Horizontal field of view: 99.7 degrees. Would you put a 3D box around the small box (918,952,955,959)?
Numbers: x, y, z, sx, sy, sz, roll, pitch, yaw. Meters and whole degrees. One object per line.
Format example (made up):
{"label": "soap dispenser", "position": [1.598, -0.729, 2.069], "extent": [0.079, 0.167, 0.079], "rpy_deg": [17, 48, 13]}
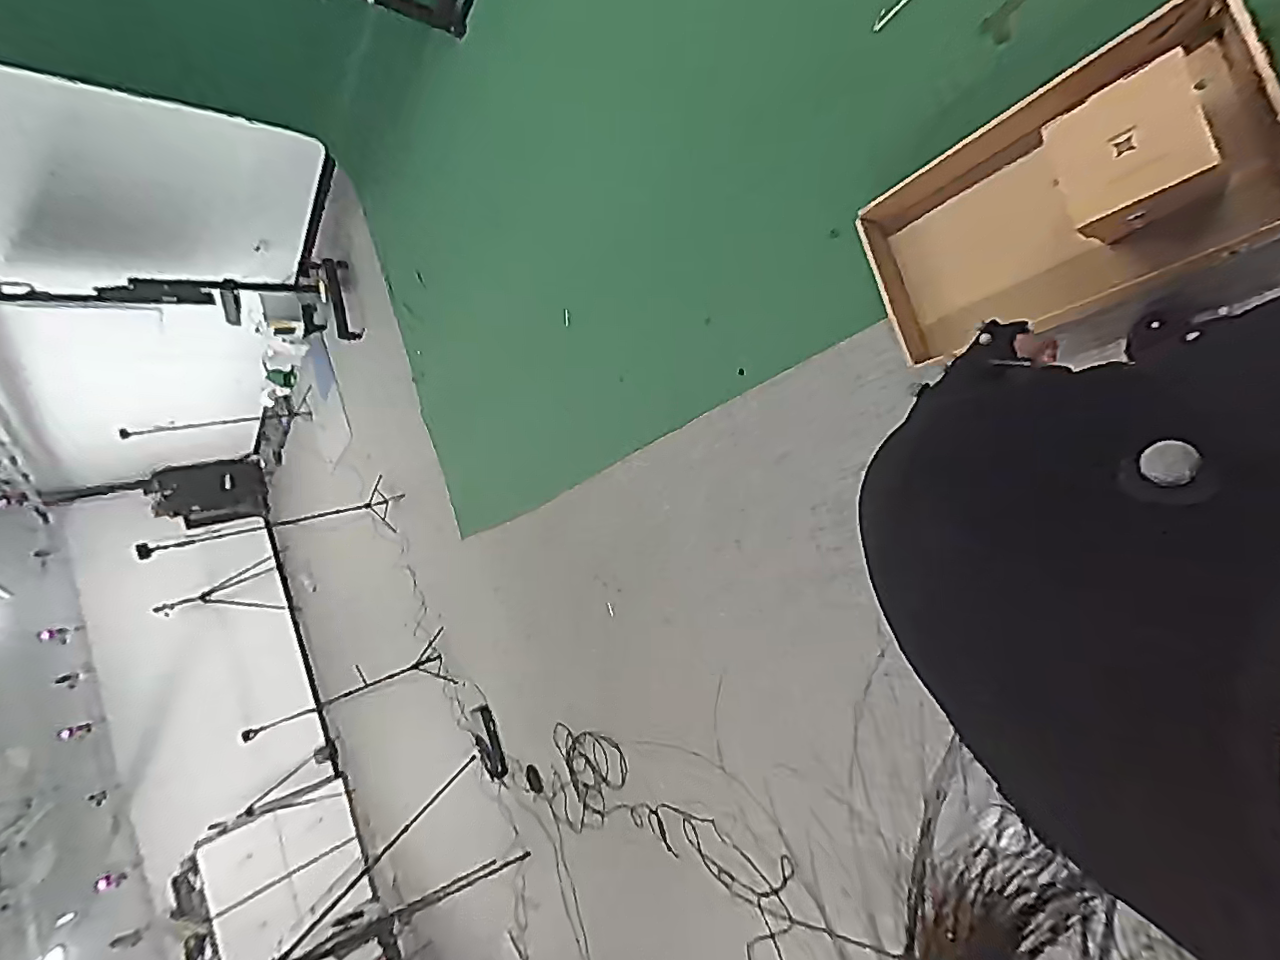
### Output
{"label": "small box", "position": [0.803, 1.366, 1.381], "extent": [0.179, 0.176, 0.168], "rpy_deg": [-31, 78, 46]}

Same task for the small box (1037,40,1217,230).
{"label": "small box", "position": [0.758, -0.518, 0.846], "extent": [0.168, 0.176, 0.179], "rpy_deg": [-20, 88, 48]}

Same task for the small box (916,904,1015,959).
{"label": "small box", "position": [0.912, 1.321, 1.496], "extent": [0.179, 0.176, 0.168], "rpy_deg": [-37, 73, 46]}
